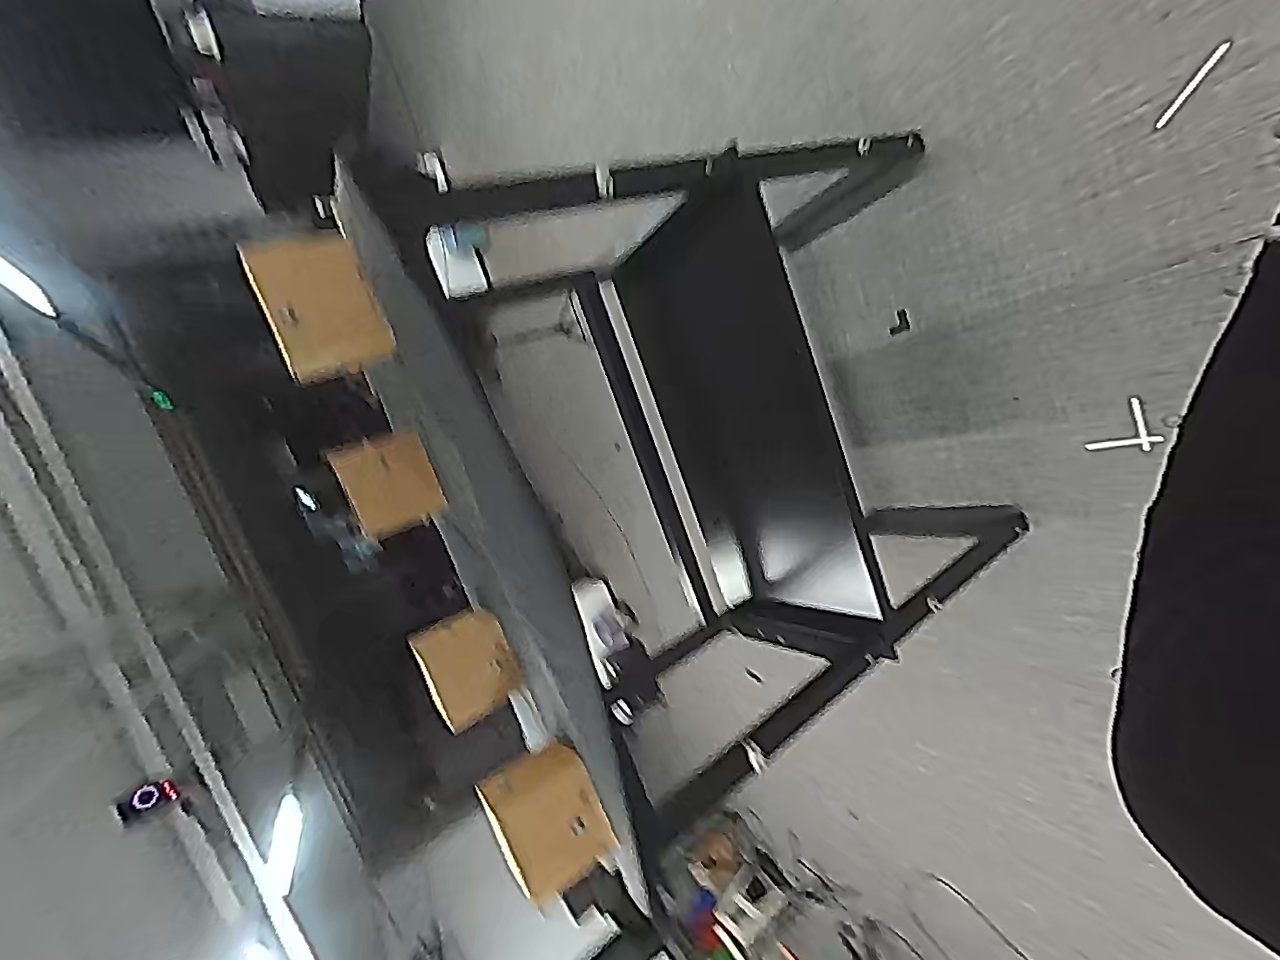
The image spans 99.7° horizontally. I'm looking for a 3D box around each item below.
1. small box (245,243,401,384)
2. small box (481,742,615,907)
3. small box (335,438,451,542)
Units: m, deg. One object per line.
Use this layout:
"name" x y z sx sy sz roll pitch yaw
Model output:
"small box" -0.517 -0.273 0.903 0.179 0.176 0.168 0 112 61
"small box" -0.169 0.612 0.990 0.179 0.176 0.168 -28 86 61
"small box" -0.526 0.015 1.150 0.168 0.176 0.179 -4 107 62
